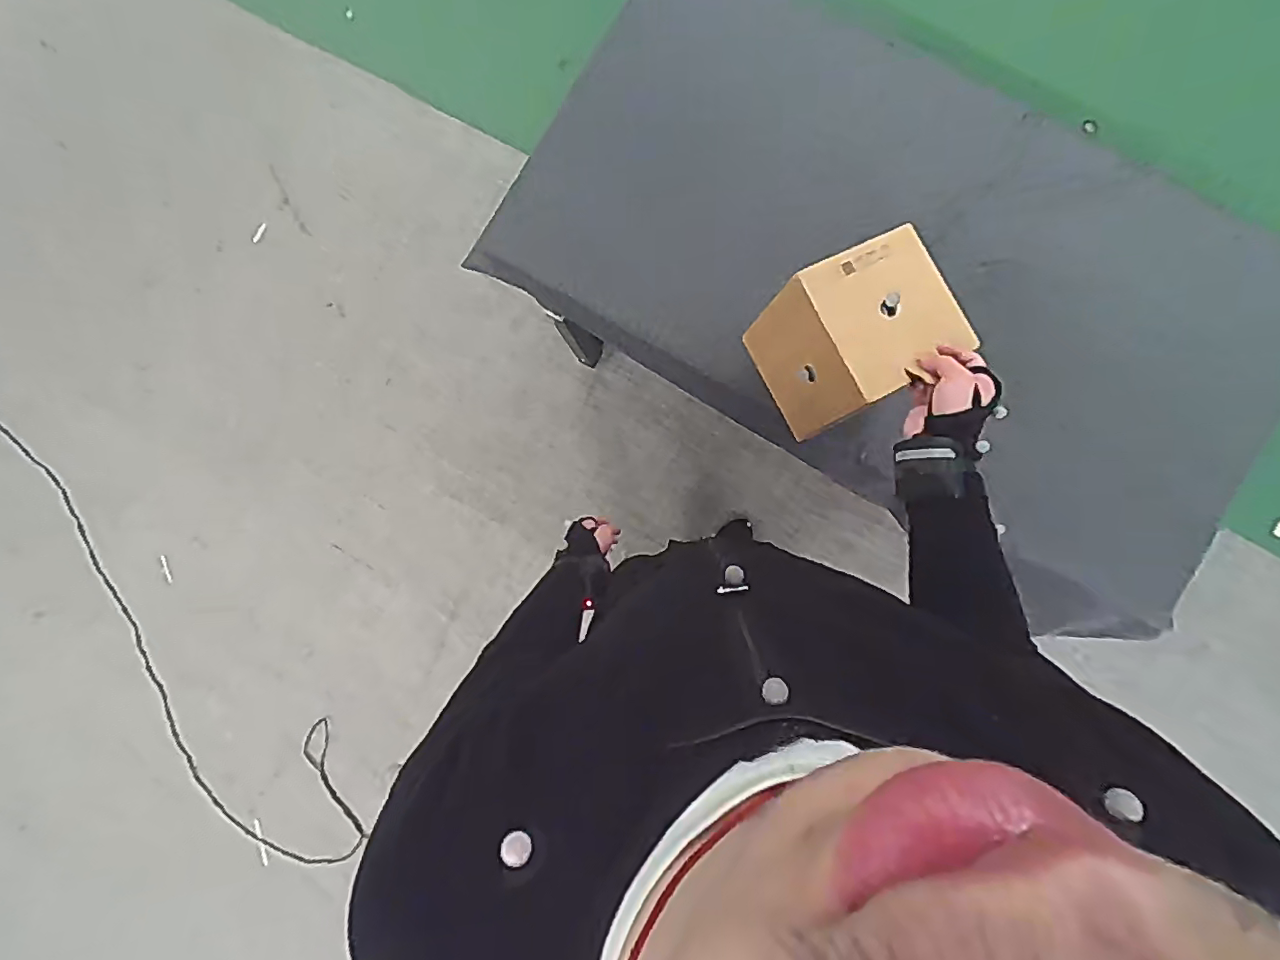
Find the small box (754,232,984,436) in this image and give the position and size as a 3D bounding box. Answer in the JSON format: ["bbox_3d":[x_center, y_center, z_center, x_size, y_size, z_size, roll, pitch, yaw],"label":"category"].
[{"bbox_3d":[0.270,-0.182,0.681,0.168,0.179,0.176,-29,87,-10],"label":"small box"}]
